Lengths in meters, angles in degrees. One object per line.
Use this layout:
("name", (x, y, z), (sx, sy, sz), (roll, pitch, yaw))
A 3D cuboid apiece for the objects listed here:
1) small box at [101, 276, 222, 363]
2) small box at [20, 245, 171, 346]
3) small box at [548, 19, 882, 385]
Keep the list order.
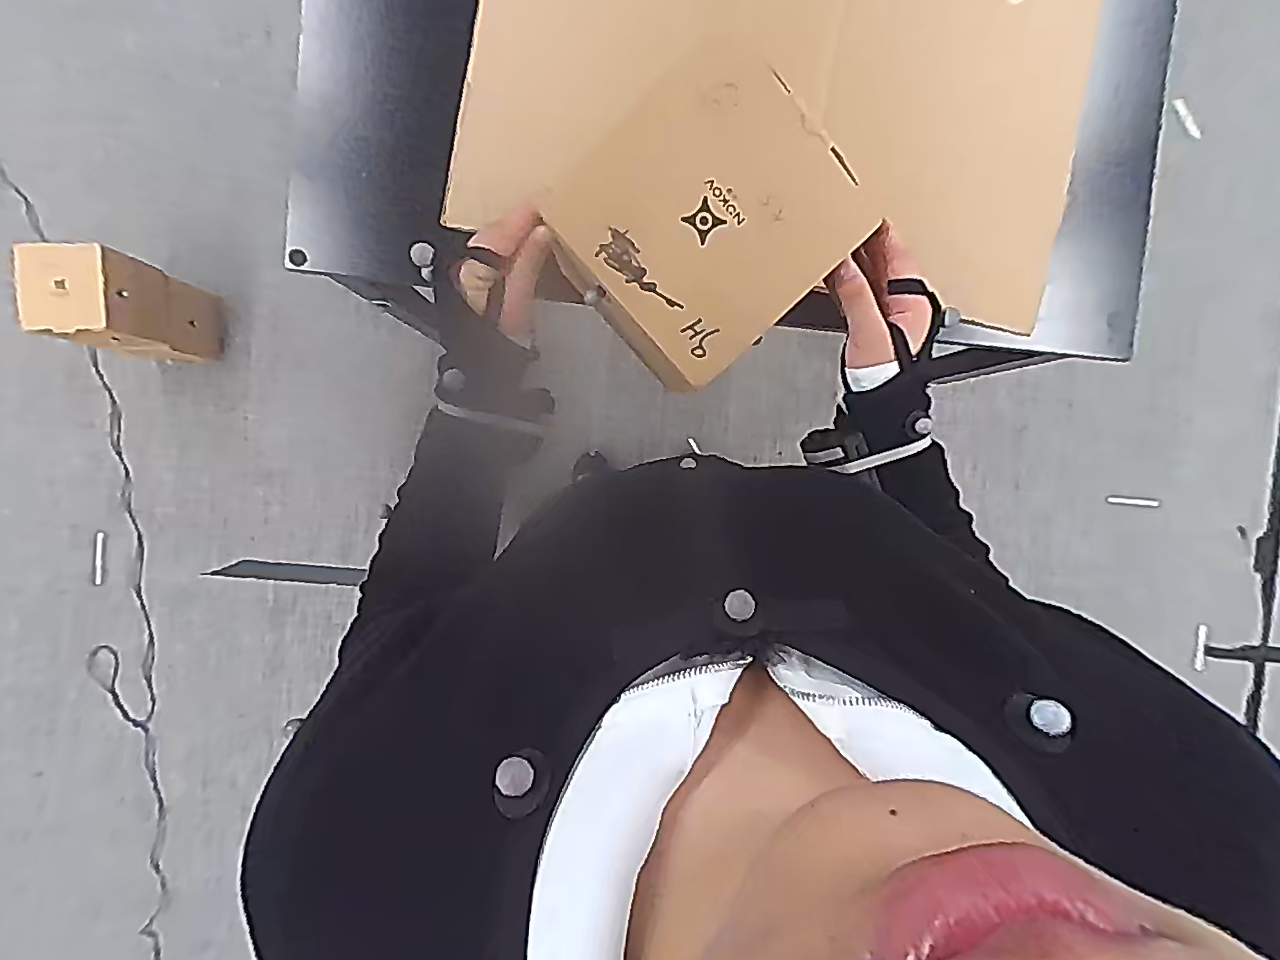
("small box", (-1.176, -0.394, 1.338), (0.168, 0.176, 0.179), (1, 93, -3))
("small box", (-1.168, -0.392, 1.175), (0.168, 0.176, 0.179), (-2, 92, -4))
("small box", (0.047, -0.197, 0.445), (0.179, 0.176, 0.168), (-43, 97, 3))
